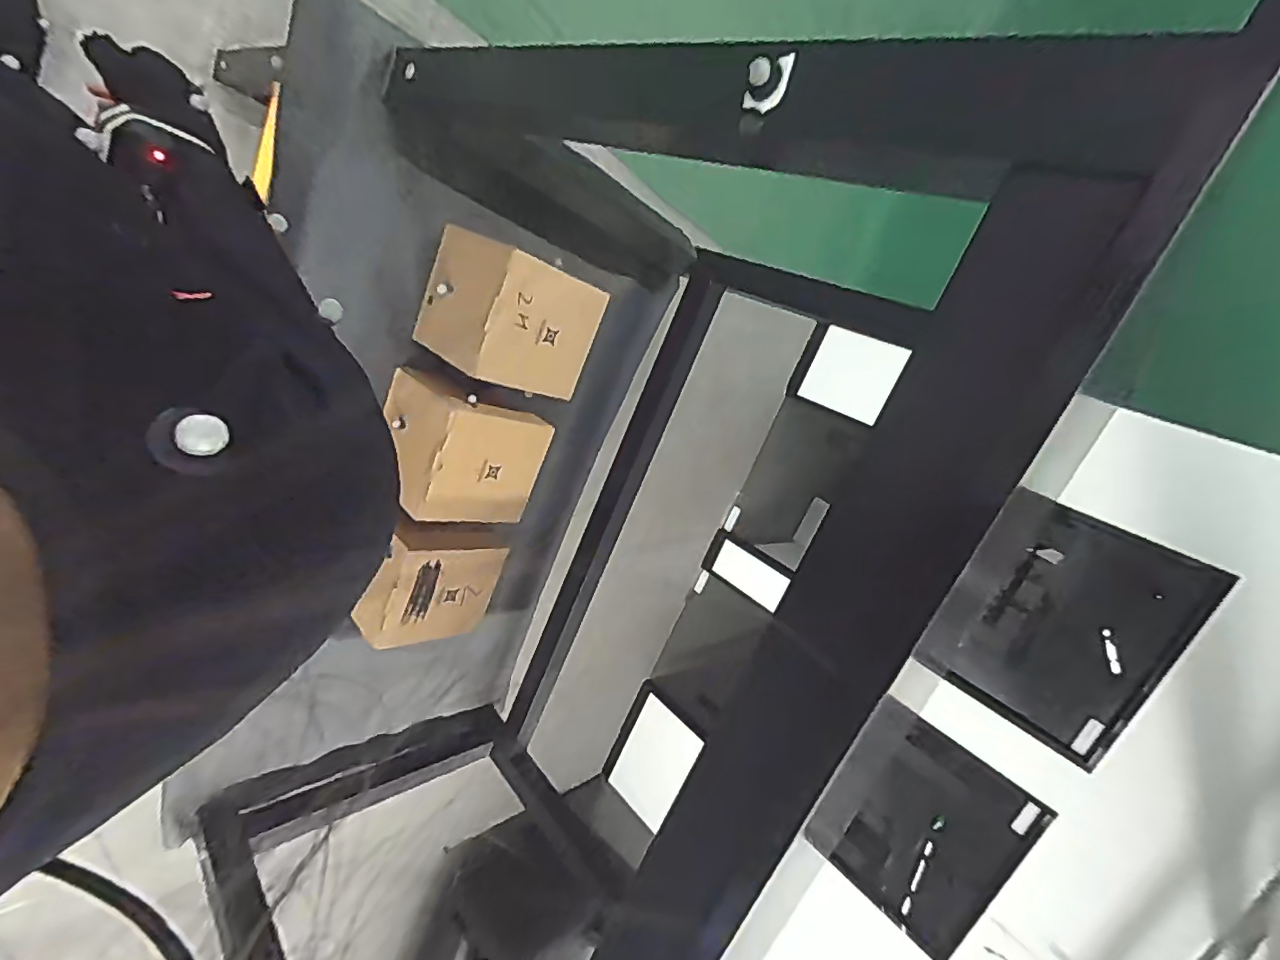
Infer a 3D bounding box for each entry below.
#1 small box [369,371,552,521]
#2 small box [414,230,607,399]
[{"bbox_3d":[-0.272,-0.050,0.816,0.179,0.176,0.168,5,112,-52],"label":"small box"},{"bbox_3d":[-0.185,-0.234,0.771,0.179,0.176,0.168,5,113,-52],"label":"small box"}]
